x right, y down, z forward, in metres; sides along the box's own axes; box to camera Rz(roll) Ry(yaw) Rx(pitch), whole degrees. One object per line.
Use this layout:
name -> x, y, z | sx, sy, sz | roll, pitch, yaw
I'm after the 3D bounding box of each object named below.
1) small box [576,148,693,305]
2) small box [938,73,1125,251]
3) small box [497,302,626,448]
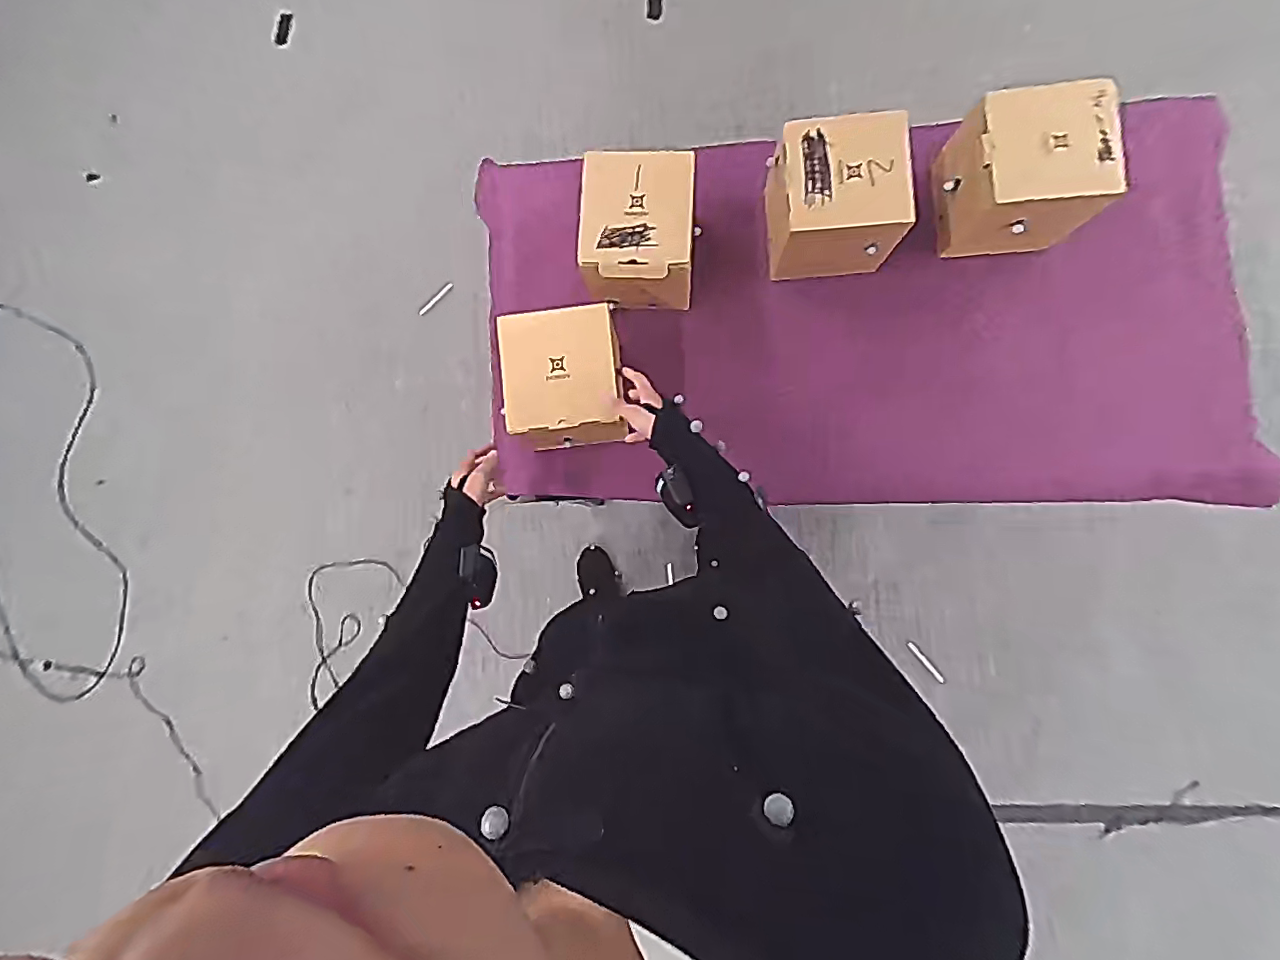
small box -> -0.001, -0.391, 0.861 | 0.168, 0.176, 0.179 | 2, 86, 4
small box -> 0.572, -0.465, 0.819 | 0.179, 0.176, 0.168 | -3, 88, 5
small box -> -0.115, -0.155, 0.850 | 0.168, 0.176, 0.179 | -7, 86, 2
